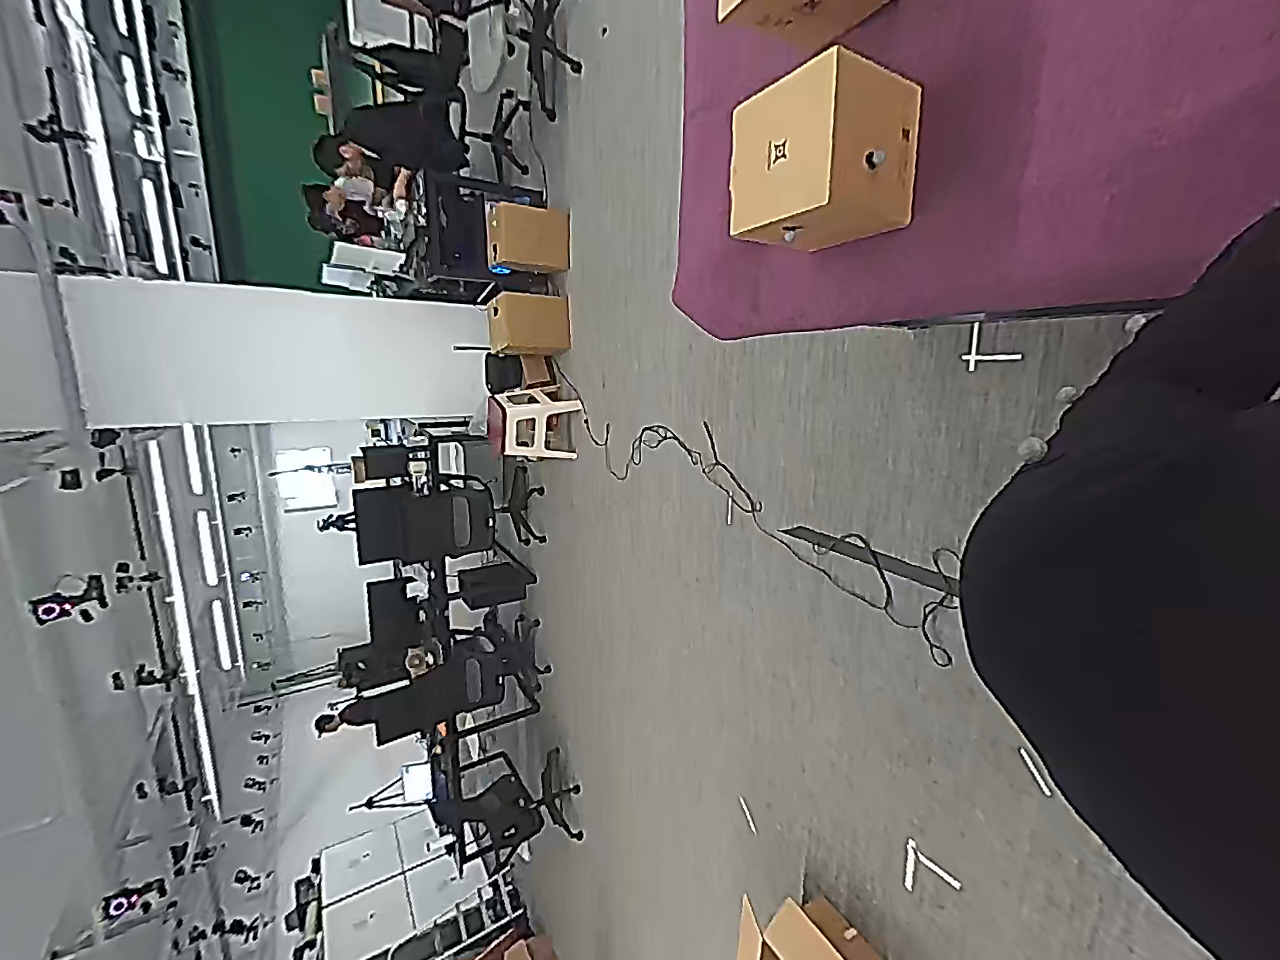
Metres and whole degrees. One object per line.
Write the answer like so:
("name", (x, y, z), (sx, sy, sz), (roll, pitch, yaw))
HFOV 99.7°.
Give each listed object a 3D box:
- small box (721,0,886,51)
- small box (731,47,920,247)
("small box", (0.217, -0.689, 0.672), (0.179, 0.168, 0.176), (-149, 59, -62))
("small box", (0.241, -0.418, 0.715), (0.179, 0.176, 0.168), (16, 110, 57))
